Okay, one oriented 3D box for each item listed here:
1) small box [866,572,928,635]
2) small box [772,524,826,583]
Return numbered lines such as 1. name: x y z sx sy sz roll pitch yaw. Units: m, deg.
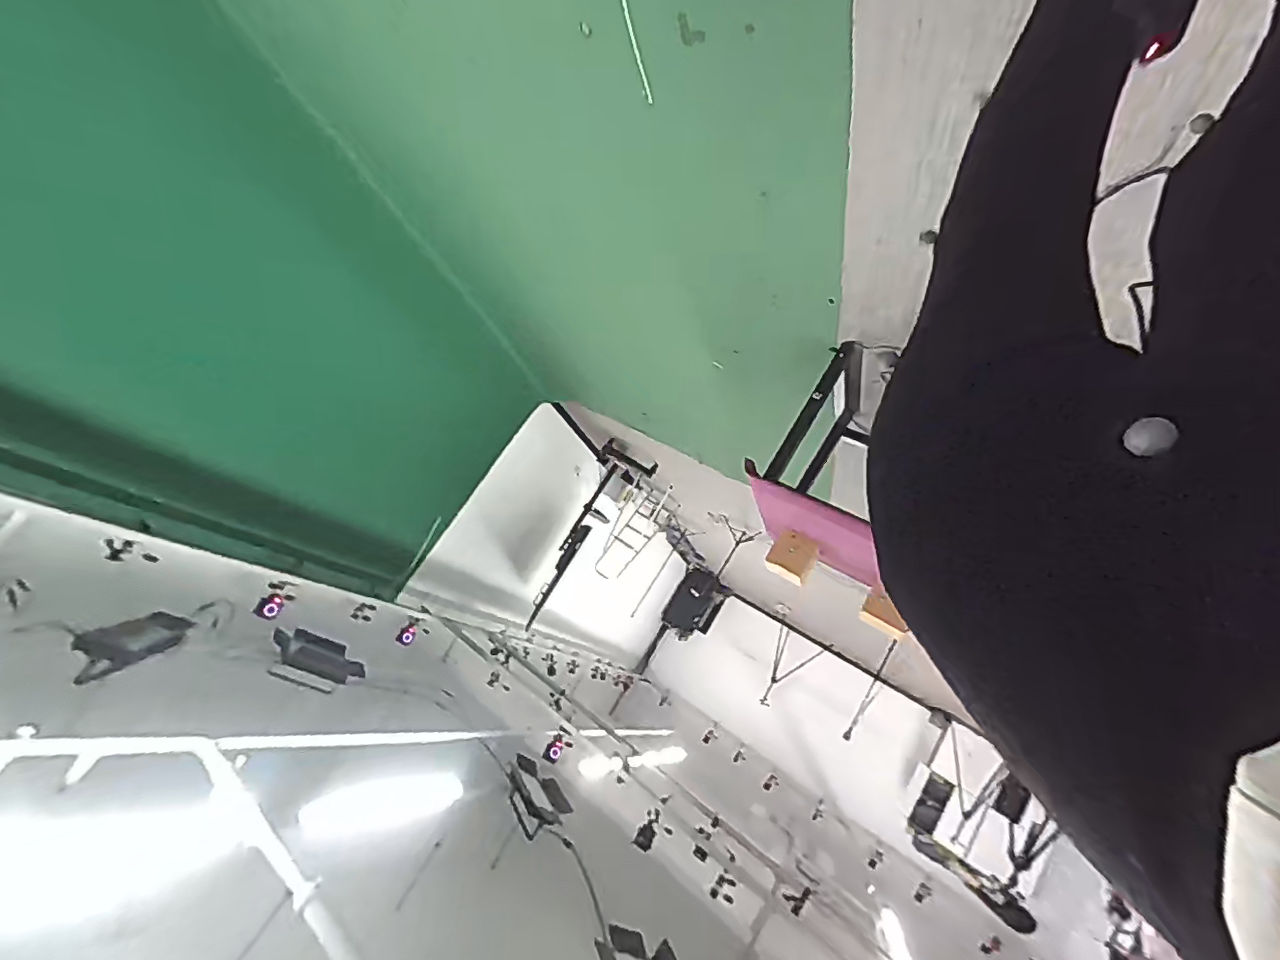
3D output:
1. small box: 1.017 0.487 2.139 0.168 0.176 0.179 28 168 29
2. small box: 0.687 0.314 2.324 0.168 0.176 0.179 28 167 27
